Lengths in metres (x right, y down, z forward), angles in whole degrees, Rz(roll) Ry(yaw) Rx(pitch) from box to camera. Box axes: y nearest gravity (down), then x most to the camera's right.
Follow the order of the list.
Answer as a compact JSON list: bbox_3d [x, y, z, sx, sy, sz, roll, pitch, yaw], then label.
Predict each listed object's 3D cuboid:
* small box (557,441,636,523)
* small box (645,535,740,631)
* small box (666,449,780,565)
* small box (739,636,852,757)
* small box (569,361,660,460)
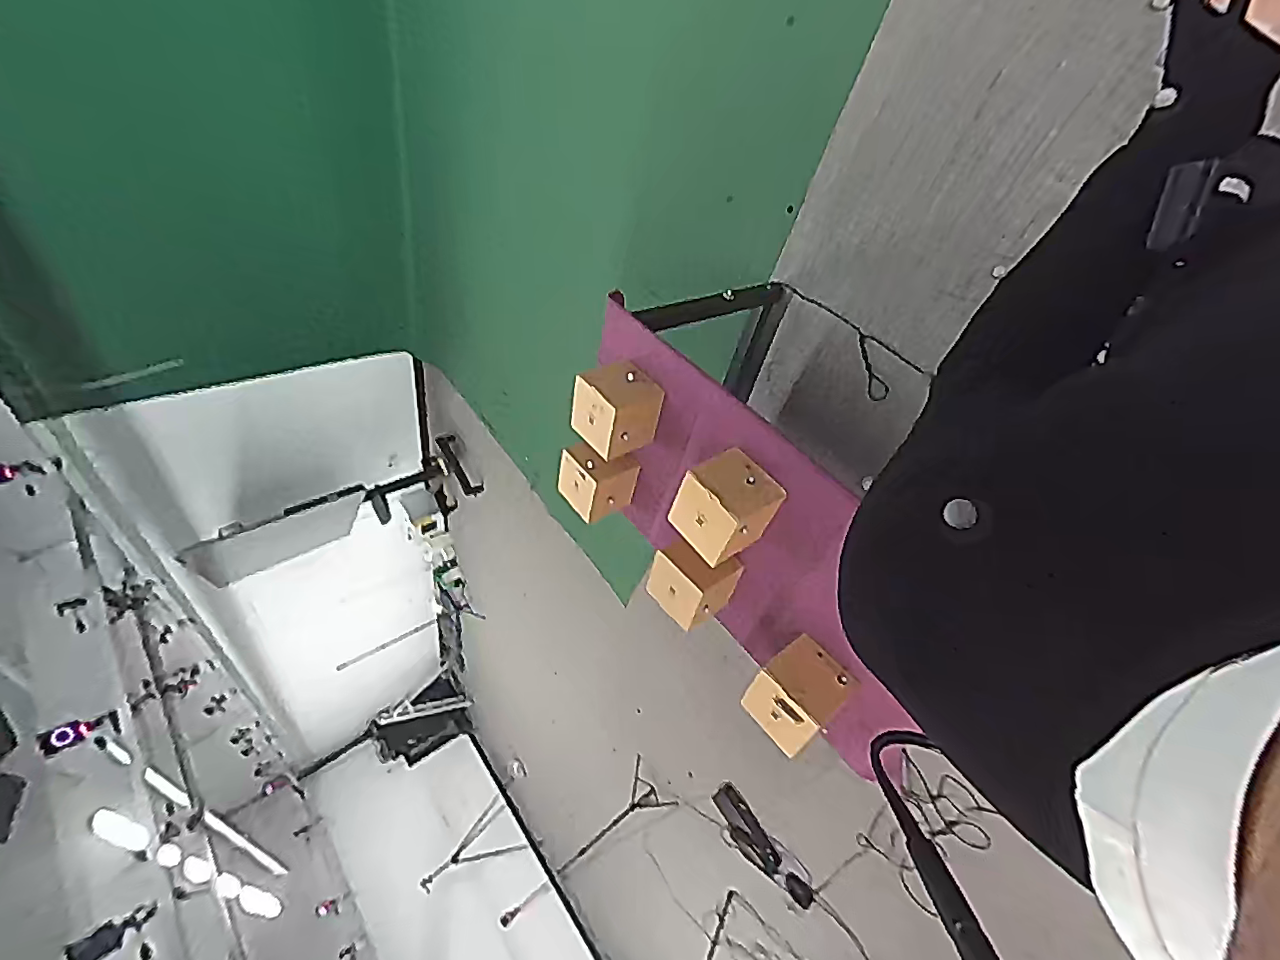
[{"bbox_3d":[-0.132,-0.008,1.631,0.168,0.176,0.179,44,140,27],"label":"small box"},{"bbox_3d":[0.139,0.258,1.432,0.168,0.176,0.179,43,138,28],"label":"small box"},{"bbox_3d":[0.191,0.058,1.244,0.168,0.176,0.179,47,141,26],"label":"small box"},{"bbox_3d":[0.367,0.501,1.269,0.168,0.176,0.179,43,140,30],"label":"small box"},{"bbox_3d":[-0.068,-0.189,1.435,0.168,0.176,0.179,44,141,27],"label":"small box"}]
